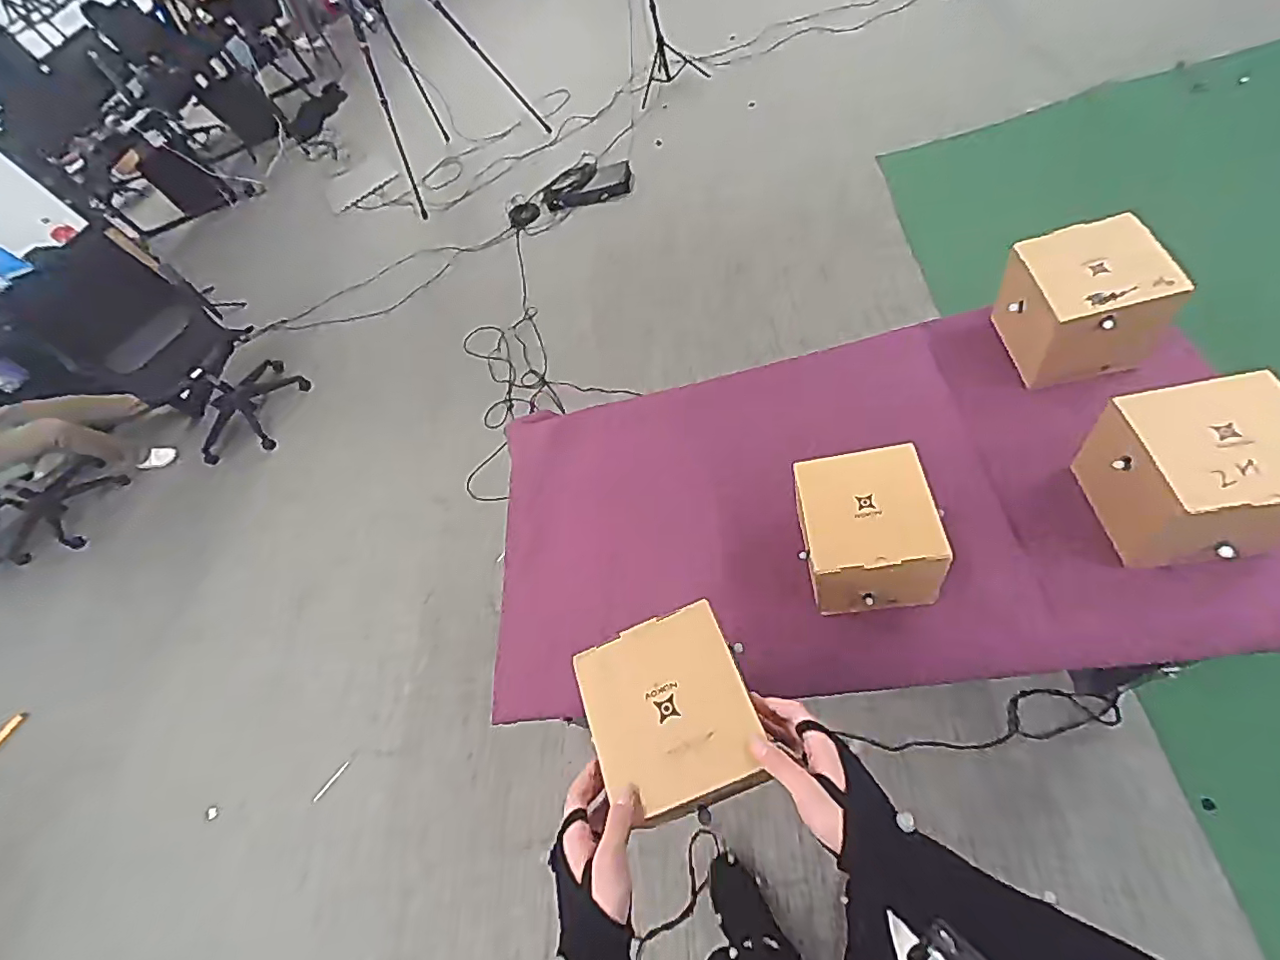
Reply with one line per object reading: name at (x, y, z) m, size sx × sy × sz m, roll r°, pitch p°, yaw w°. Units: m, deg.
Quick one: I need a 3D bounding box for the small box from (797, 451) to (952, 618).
small box at (0.328, 0.085, 0.790) m, size 0.168 × 0.176 × 0.179 m, roll -10°, pitch 56°, yaw 14°

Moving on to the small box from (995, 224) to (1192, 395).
small box at (0.703, -0.267, 0.869) m, size 0.168 × 0.176 × 0.179 m, roll -12°, pitch 57°, yaw 15°

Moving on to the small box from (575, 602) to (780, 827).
small box at (0.046, 0.270, 0.614) m, size 0.168 × 0.176 × 0.179 m, roll -24°, pitch 56°, yaw 3°

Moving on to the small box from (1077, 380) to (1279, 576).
small box at (0.712, 0.004, 0.696) m, size 0.168 × 0.176 × 0.179 m, roll -10°, pitch 55°, yaw 15°
